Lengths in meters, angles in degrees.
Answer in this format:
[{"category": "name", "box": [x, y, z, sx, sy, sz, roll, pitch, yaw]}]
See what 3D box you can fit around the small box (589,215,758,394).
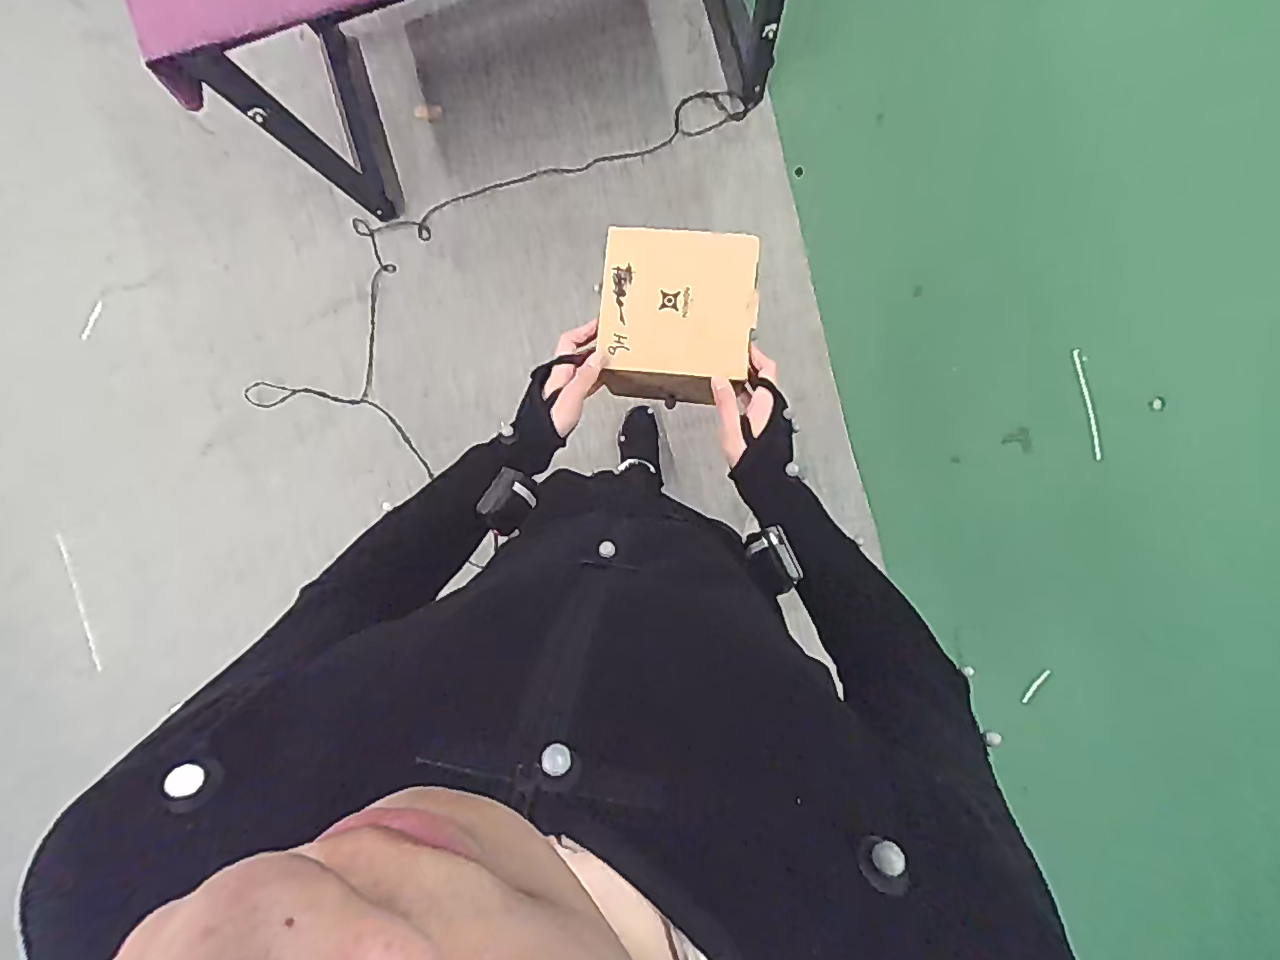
[{"category": "small box", "box": [0.042, -0.211, 0.692, 0.179, 0.176, 0.168, 7, 88, 4]}]
